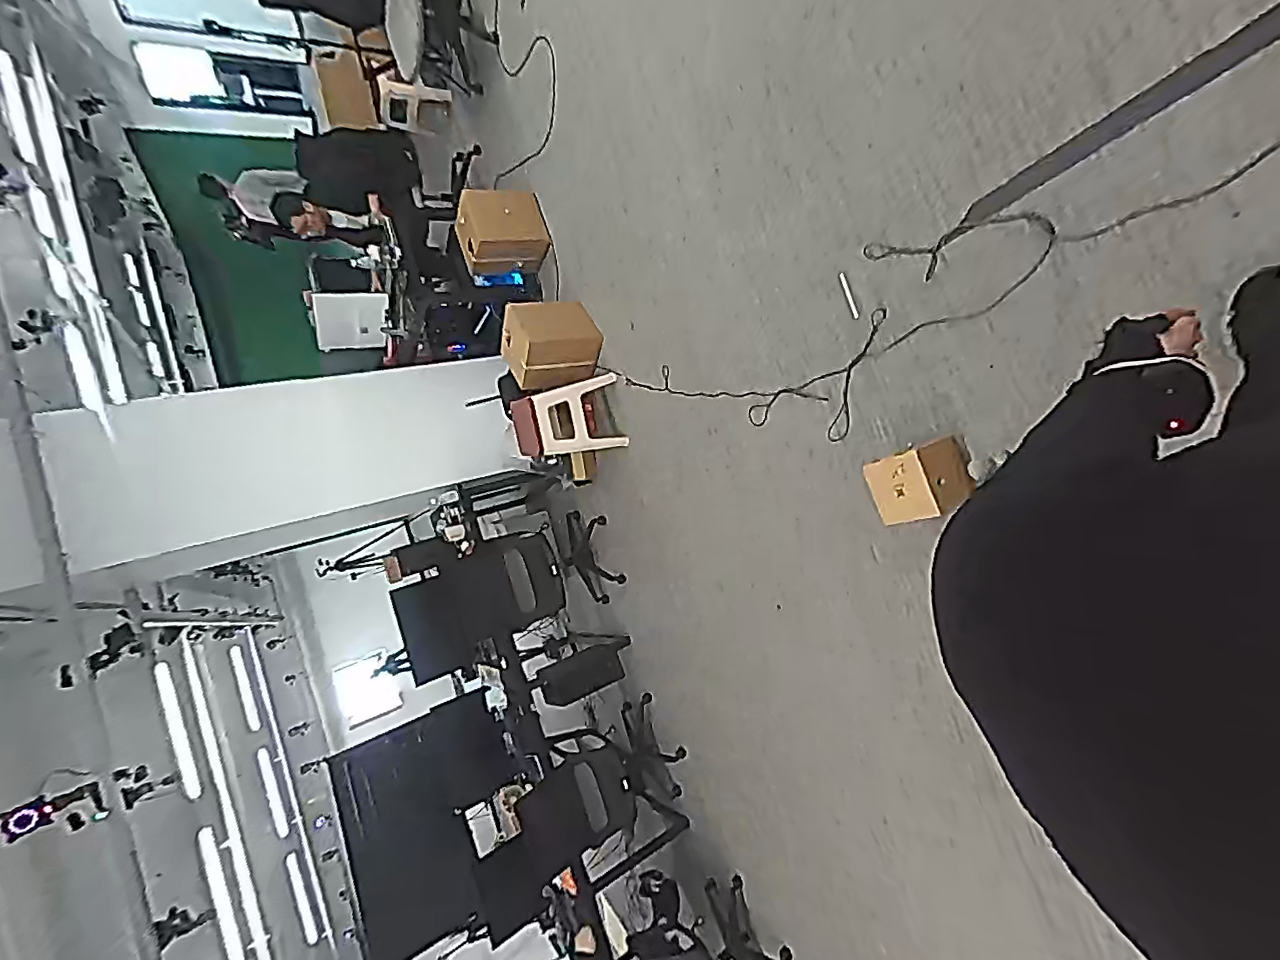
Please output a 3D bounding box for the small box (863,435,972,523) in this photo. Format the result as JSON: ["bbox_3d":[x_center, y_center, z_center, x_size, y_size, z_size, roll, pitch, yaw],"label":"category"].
[{"bbox_3d":[0.731,-0.002,1.422,0.168,0.176,0.179,-25,83,59],"label":"small box"}]
